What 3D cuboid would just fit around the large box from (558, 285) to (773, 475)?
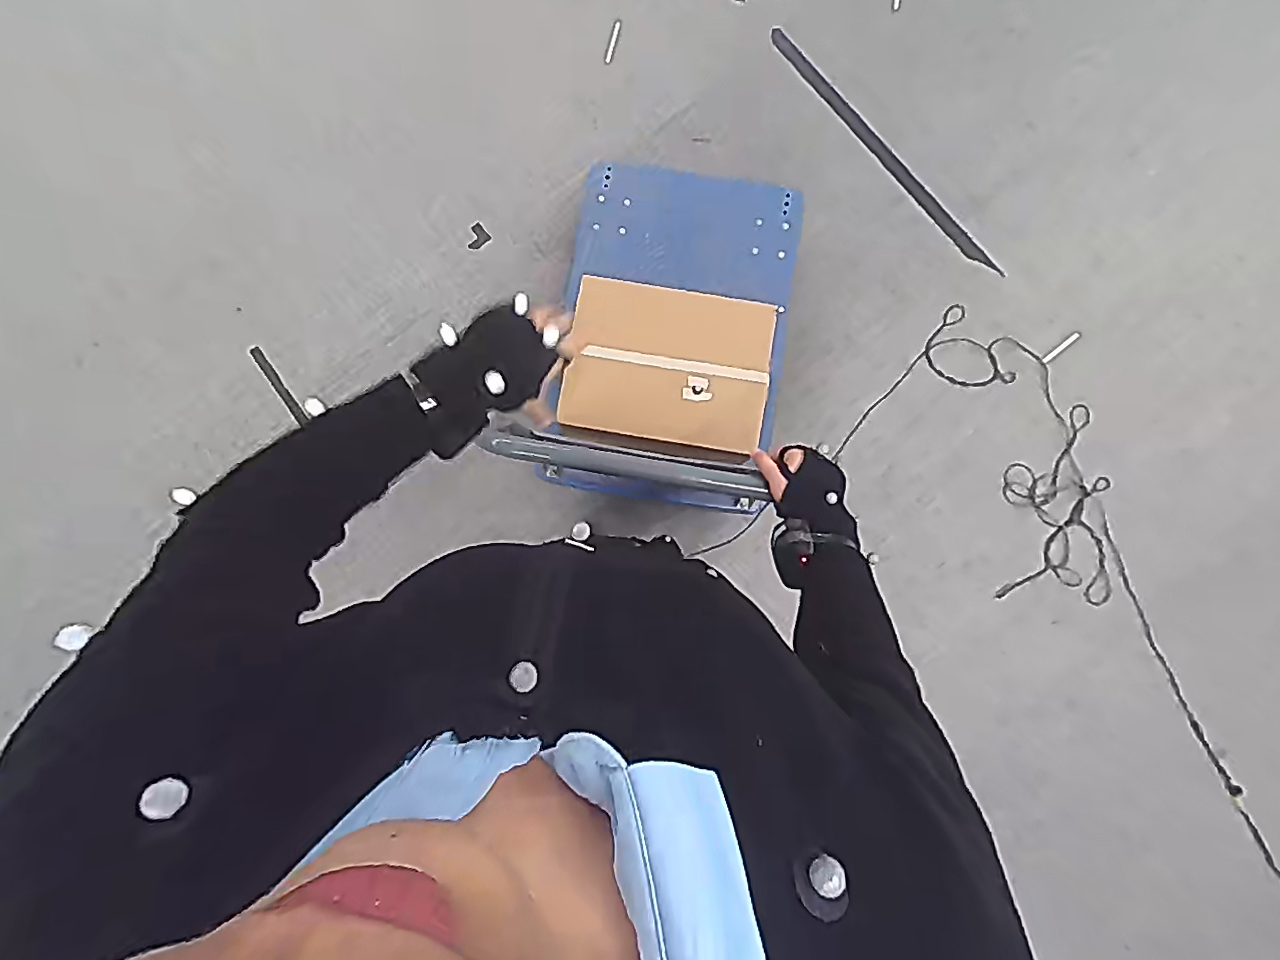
[{"bbox_3d":[0.050,-0.206,1.231,0.408,0.320,0.320,9,85,0],"label":"large box"}]
